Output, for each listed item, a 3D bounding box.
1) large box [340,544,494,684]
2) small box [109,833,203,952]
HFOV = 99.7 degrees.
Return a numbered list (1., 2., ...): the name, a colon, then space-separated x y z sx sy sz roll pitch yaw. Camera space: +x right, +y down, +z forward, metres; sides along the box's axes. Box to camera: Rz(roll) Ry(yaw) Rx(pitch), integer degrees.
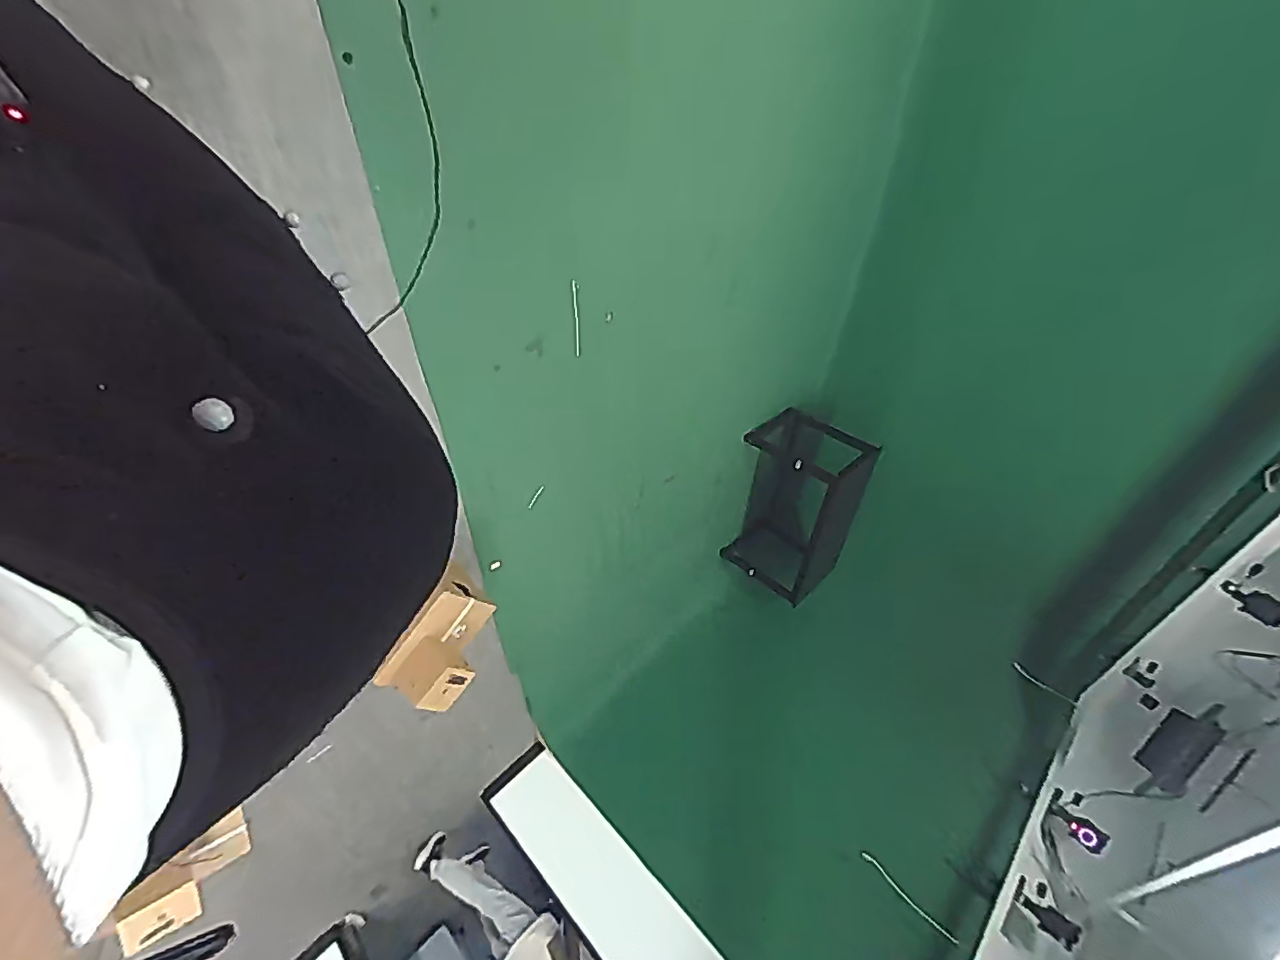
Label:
1. large box: -0.865 0.525 2.107 0.408 0.320 0.320 -54 149 -5
2. small box: -1.371 1.160 1.535 0.168 0.176 0.179 -15 127 -47
